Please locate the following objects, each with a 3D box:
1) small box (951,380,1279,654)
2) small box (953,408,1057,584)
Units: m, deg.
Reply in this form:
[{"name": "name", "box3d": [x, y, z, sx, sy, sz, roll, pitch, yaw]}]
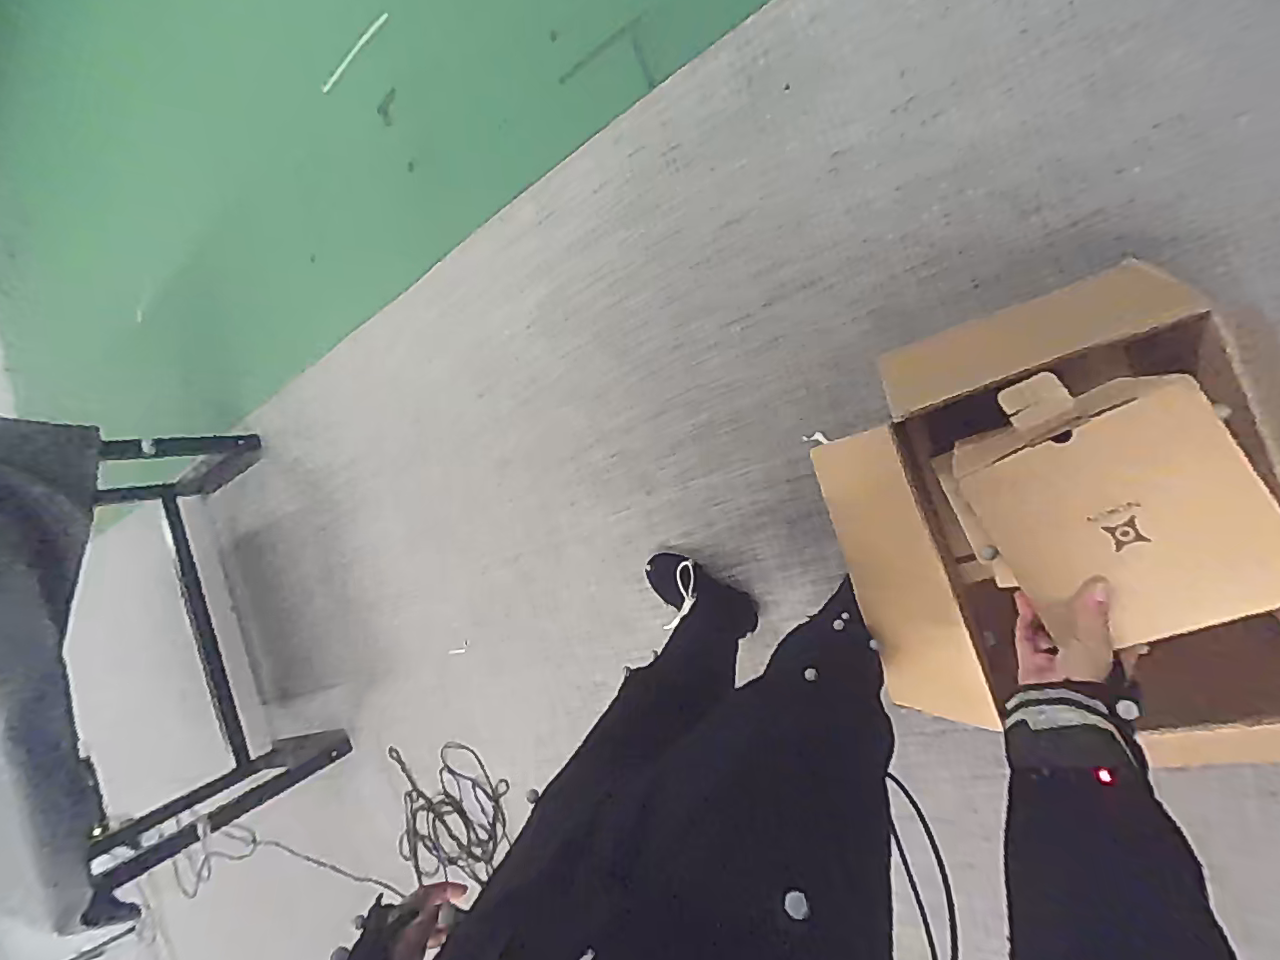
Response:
[{"name": "small box", "box3d": [0.412, 0.025, 0.492, 0.168, 0.176, 0.179, -32, 81, 29]}, {"name": "small box", "box3d": [0.485, 0.008, 0.636, 0.179, 0.176, 0.168, -17, 89, 31]}]
